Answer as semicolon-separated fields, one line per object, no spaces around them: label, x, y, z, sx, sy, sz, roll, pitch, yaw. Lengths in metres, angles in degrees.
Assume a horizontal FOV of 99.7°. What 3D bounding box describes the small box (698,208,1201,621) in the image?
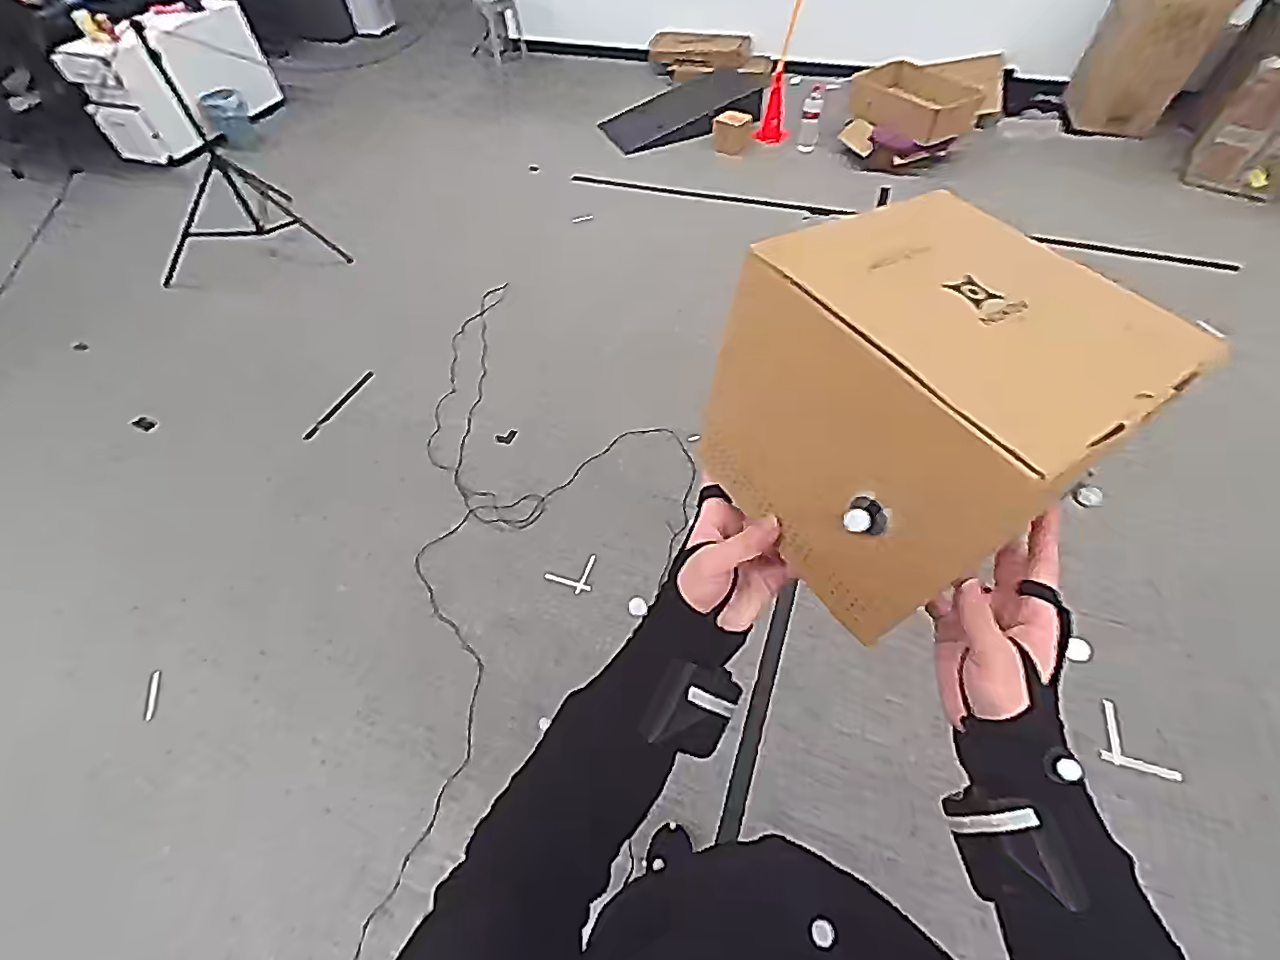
small box;0.159;-0.035;0.340;0.168;0.176;0.179;-25;58;-24
